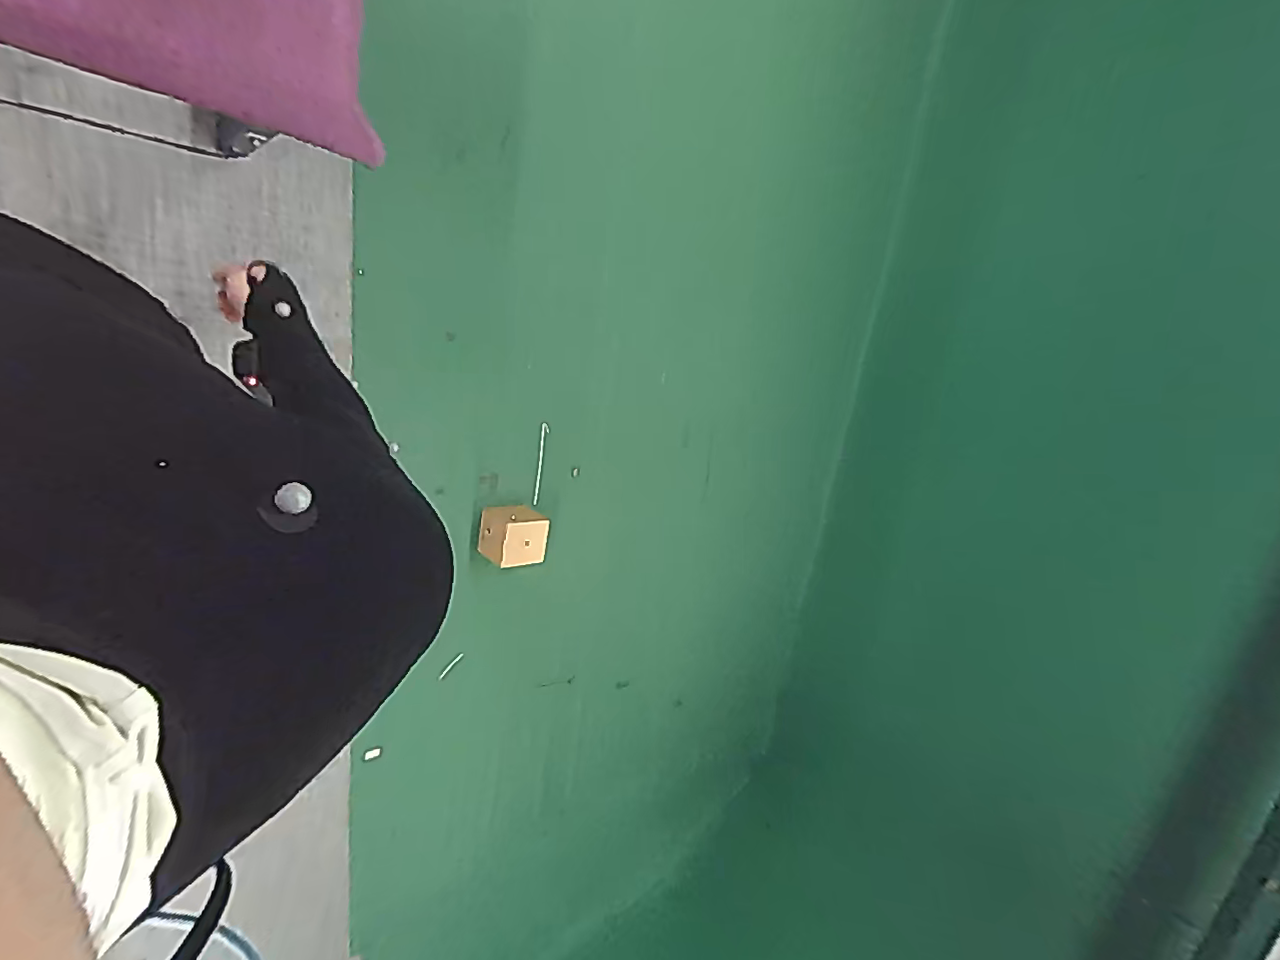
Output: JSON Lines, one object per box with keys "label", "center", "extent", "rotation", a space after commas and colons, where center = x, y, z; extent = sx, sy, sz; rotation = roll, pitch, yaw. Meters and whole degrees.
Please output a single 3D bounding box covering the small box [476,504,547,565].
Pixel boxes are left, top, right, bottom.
{"label": "small box", "center": [-0.462, 0.188, 1.944], "extent": [0.179, 0.176, 0.168], "rotation": [-2, 108, -44]}
